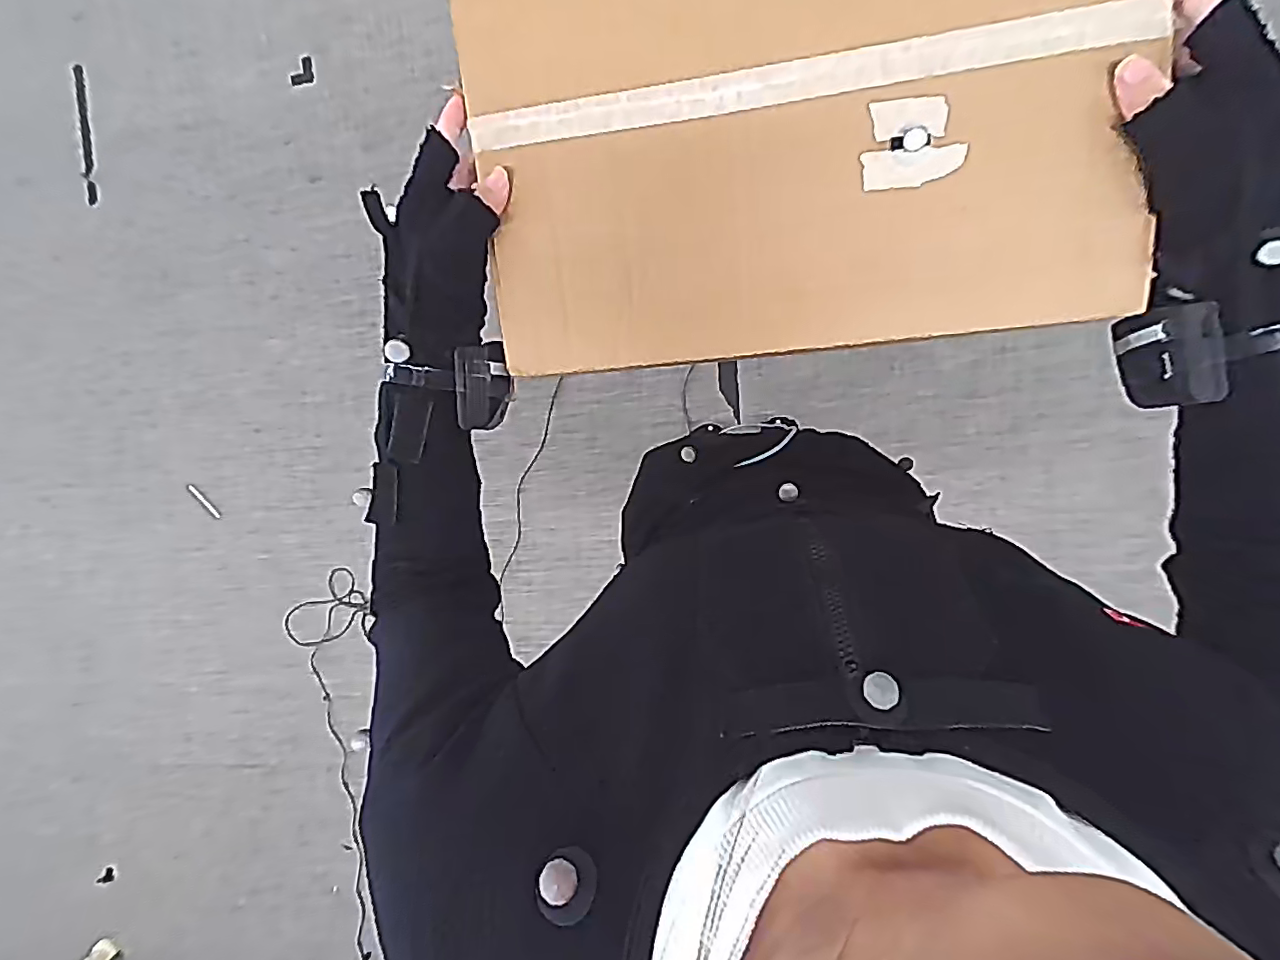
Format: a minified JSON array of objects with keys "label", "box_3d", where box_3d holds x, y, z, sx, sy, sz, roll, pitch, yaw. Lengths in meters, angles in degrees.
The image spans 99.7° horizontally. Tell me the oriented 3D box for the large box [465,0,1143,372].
[{"label":"large box","box_3d":[0.107,-0.277,0.482,0.408,0.320,0.320,-5,102,7]}]
